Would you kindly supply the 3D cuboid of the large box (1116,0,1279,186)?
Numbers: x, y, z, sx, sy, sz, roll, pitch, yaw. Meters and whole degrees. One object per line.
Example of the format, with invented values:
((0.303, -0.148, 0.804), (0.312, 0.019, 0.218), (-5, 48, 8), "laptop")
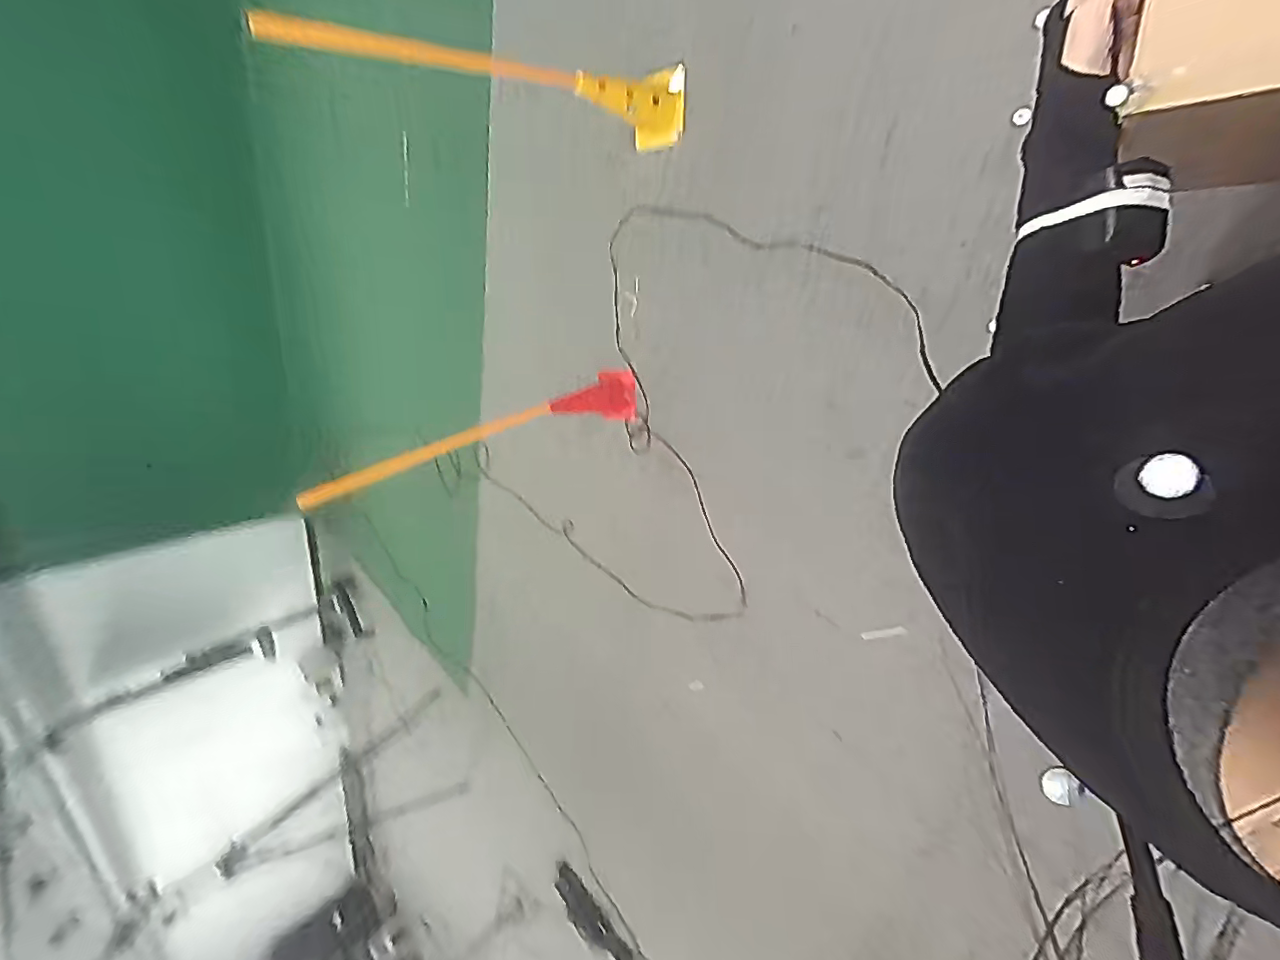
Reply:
((0.586, -0.405, 0.328), (0.408, 0.320, 0.320), (12, 110, 39), "large box")
